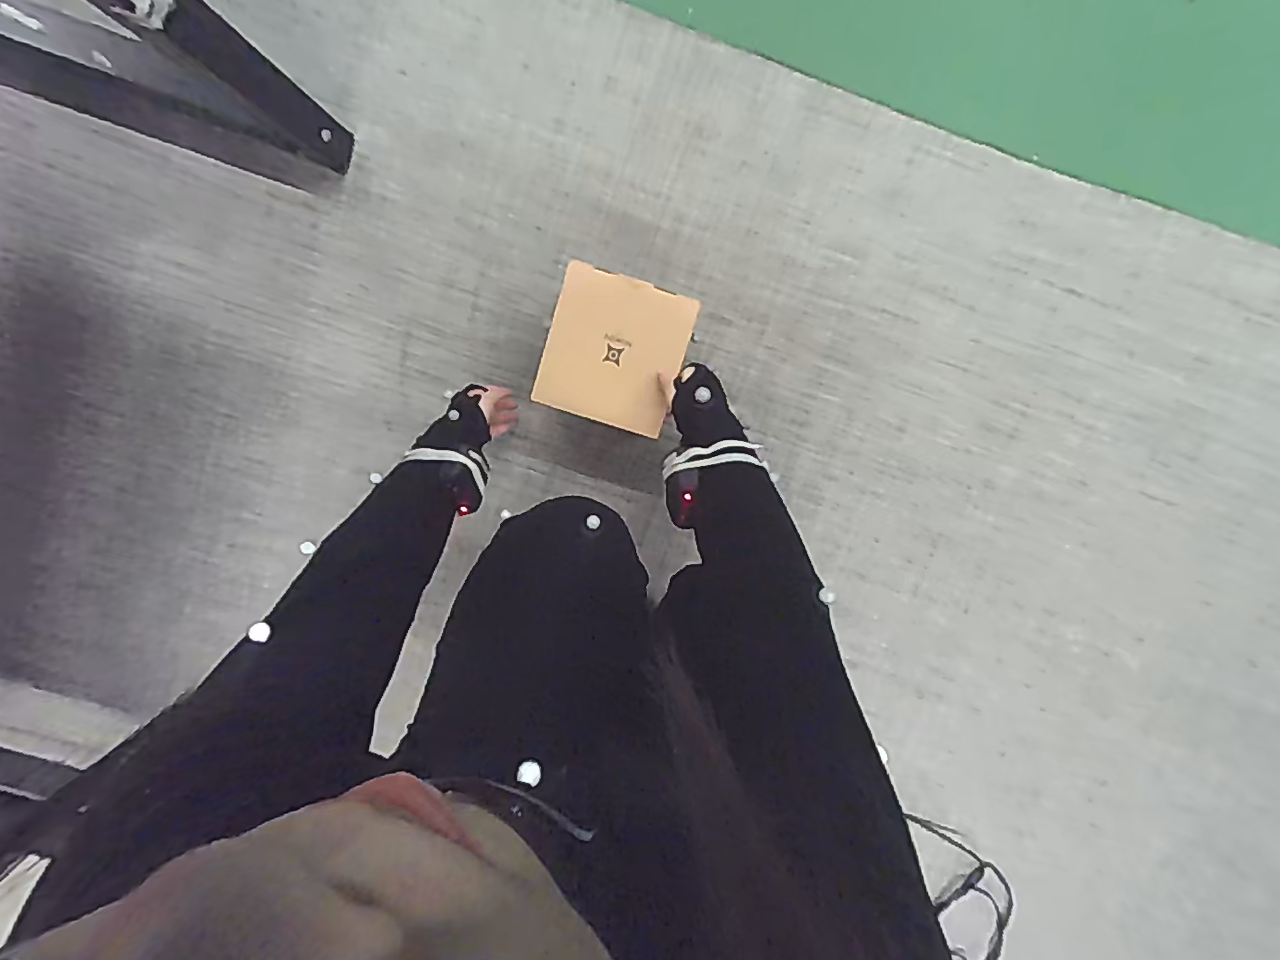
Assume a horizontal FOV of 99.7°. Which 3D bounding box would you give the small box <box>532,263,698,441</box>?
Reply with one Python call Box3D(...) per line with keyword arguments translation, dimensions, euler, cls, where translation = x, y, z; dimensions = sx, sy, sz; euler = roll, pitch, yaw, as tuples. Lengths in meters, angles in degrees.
Box3D(translation=(-0.032, -0.166, 0.735), dimensions=(0.168, 0.176, 0.179), euler=(17, 99, -4), cls="small box")
